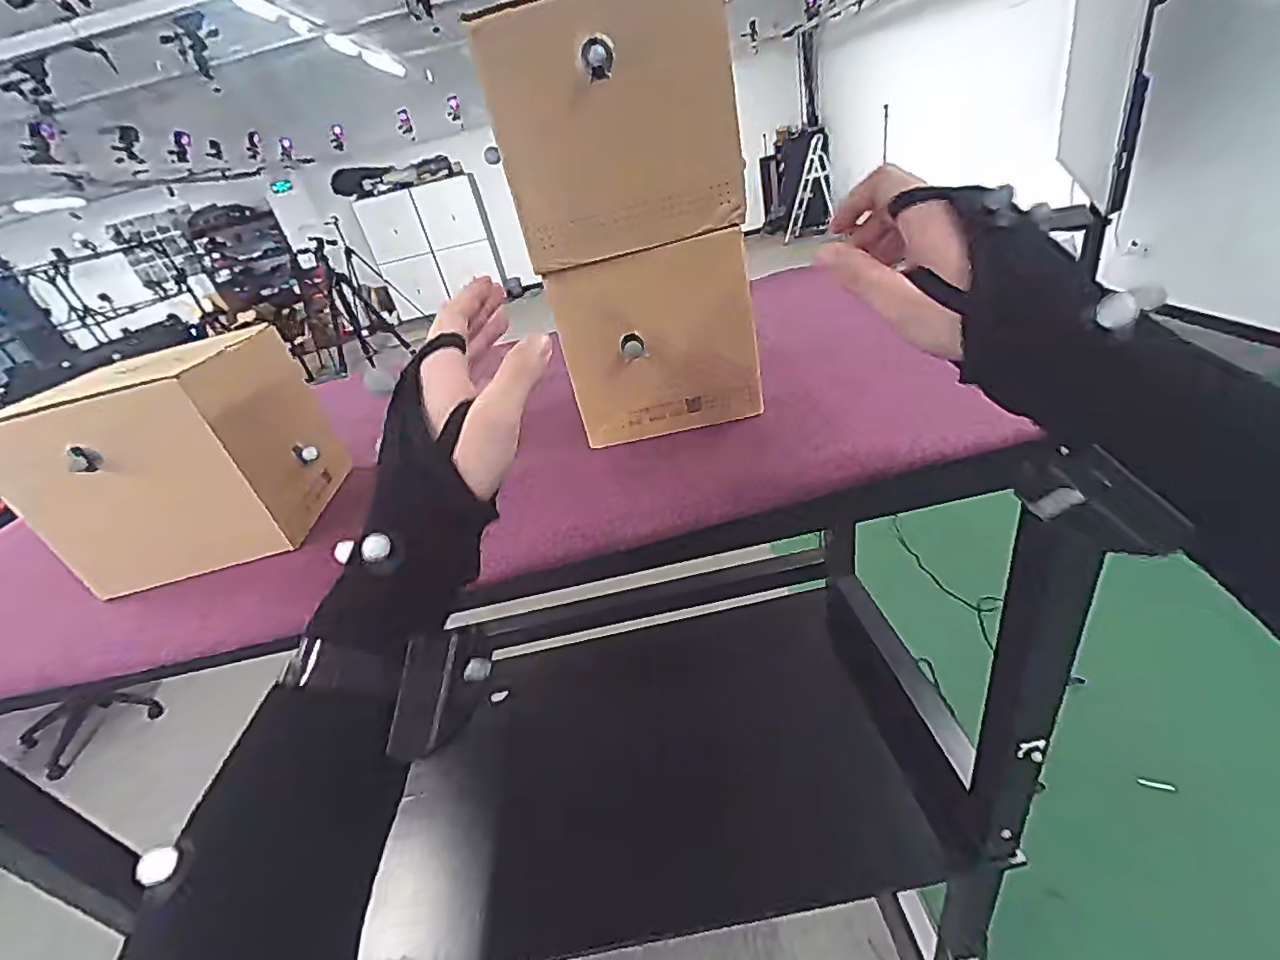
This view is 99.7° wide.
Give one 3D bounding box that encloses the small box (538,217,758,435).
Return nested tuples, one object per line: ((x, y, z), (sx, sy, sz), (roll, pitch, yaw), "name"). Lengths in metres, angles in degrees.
((0.013, -0.156, 0.535), (0.168, 0.176, 0.179), (-12, 30, 5), "small box")

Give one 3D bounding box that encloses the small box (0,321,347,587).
((-0.415, -0.026, 0.498), (0.179, 0.176, 0.168), (-15, 31, -1), "small box")

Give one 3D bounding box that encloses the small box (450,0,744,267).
((-0.025, -0.288, 0.446), (0.179, 0.176, 0.168), (-13, 31, 2), "small box")
